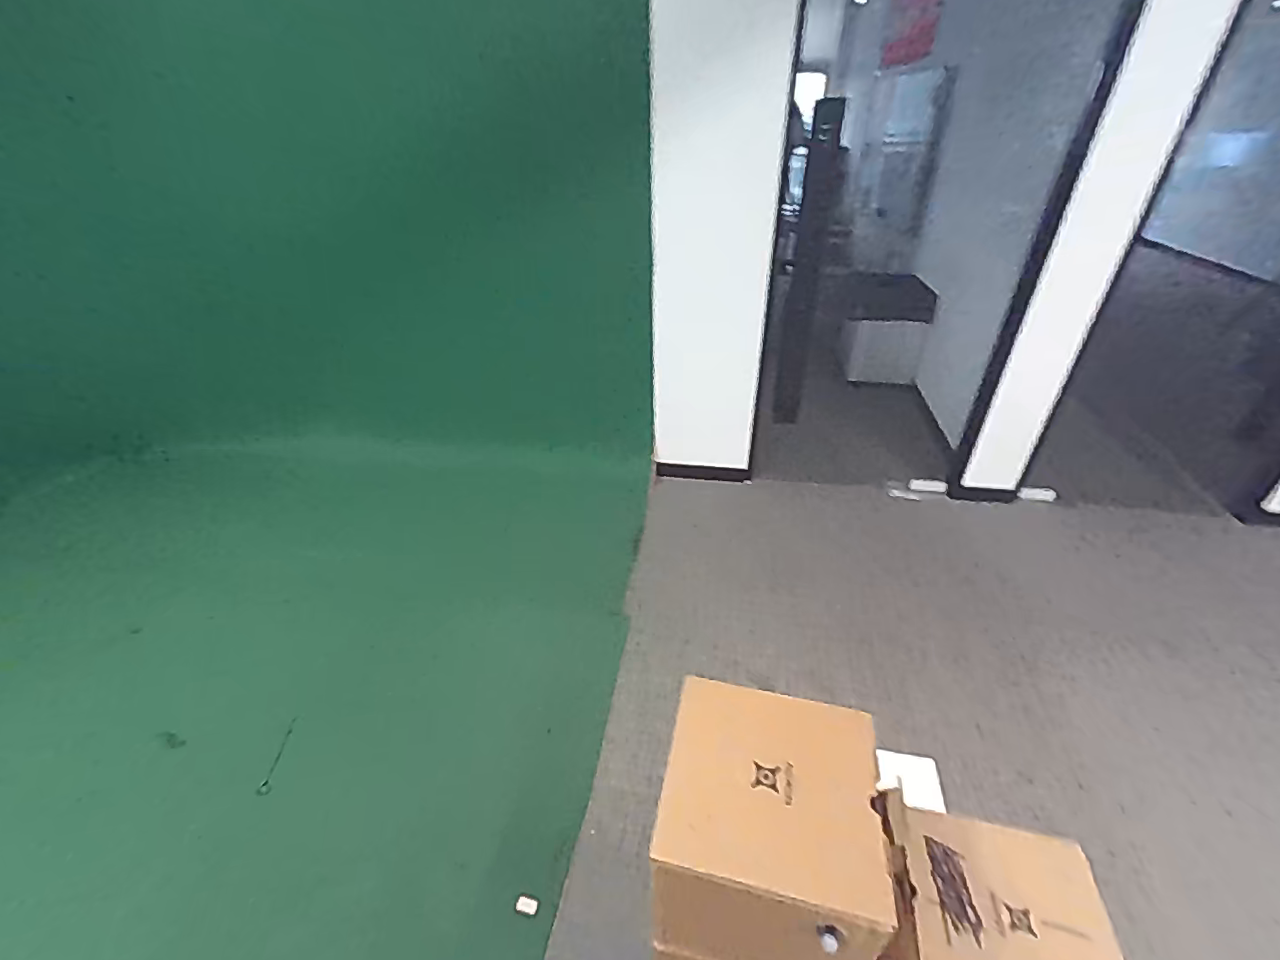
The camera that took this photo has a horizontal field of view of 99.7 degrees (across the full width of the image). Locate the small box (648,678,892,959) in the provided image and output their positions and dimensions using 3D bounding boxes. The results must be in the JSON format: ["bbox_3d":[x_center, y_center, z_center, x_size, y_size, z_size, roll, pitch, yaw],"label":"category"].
[{"bbox_3d":[0.109,0.316,0.492,0.179,0.176,0.168,8,35,11],"label":"small box"}]

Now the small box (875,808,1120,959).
[{"bbox_3d":[0.341,0.473,0.544,0.179,0.176,0.168,7,35,13],"label":"small box"}]
